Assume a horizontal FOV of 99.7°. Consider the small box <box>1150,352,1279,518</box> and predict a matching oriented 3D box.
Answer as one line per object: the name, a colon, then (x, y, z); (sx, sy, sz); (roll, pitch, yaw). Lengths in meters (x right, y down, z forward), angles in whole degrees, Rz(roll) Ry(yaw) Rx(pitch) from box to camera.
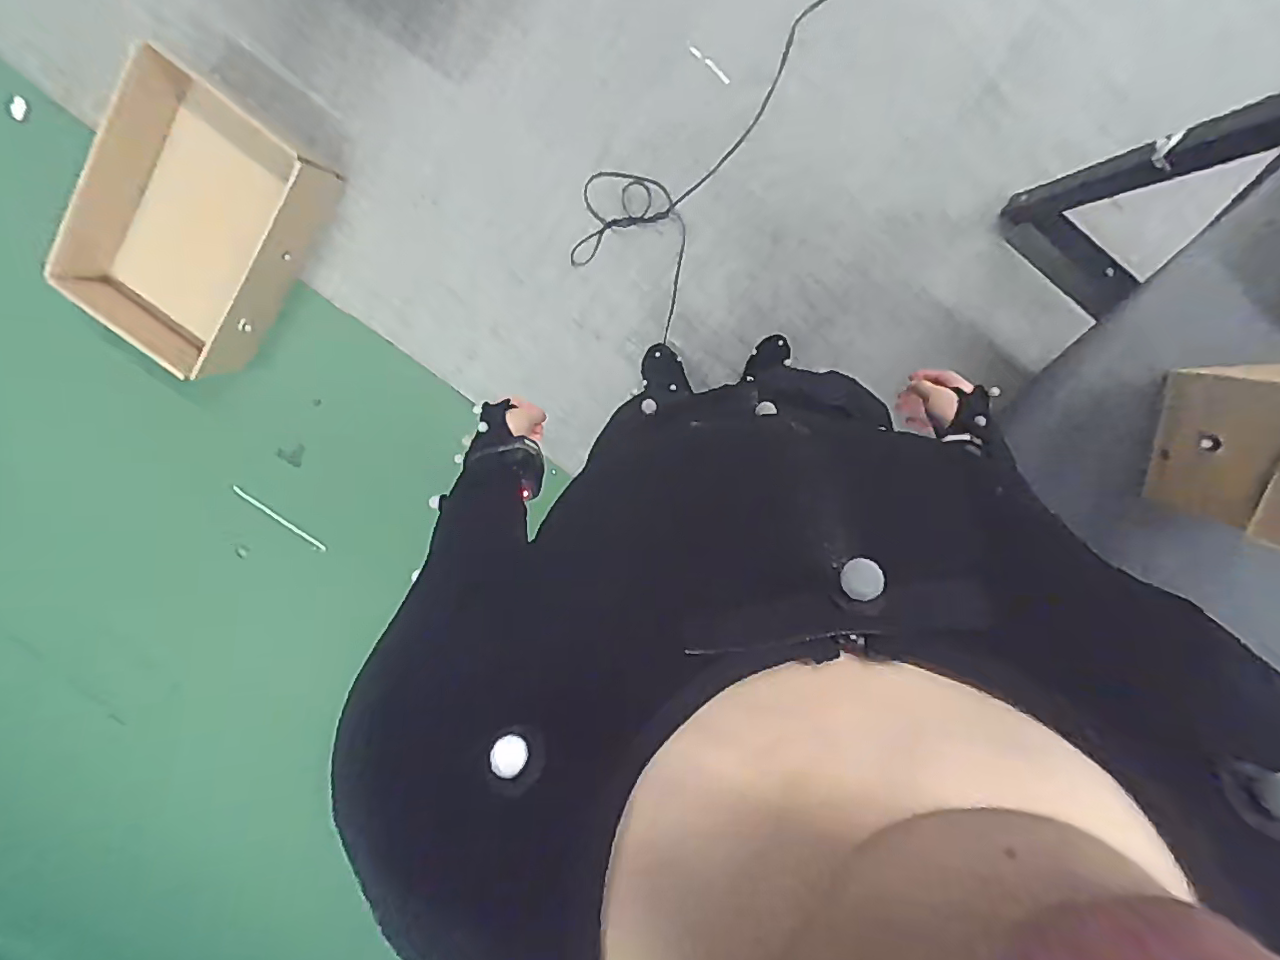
small box: (0.742, -0.053, 0.608); (0.179, 0.176, 0.168); (-3, 107, 4)
